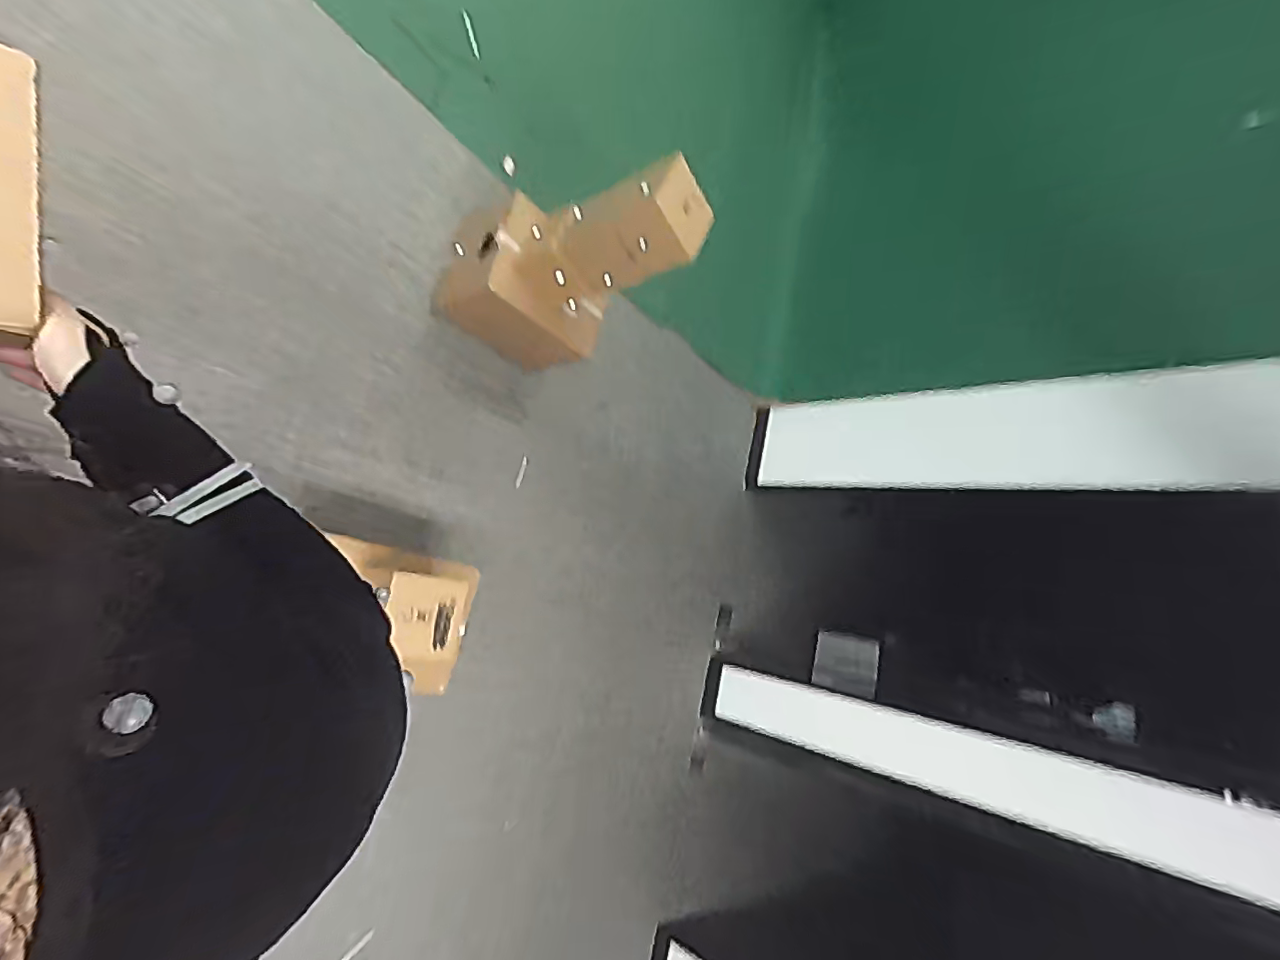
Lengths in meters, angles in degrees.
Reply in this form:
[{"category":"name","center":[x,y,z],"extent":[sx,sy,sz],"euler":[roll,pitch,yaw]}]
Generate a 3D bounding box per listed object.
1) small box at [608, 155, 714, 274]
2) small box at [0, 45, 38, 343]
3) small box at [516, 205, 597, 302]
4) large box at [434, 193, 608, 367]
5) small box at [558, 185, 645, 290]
[{"category":"small box","center":[0.047,-0.627,1.299],"extent":[0.168,0.176,0.179],"euler":[46,57,-39]},{"category":"small box","center":[-0.503,-0.188,0.339],"extent":[0.168,0.176,0.179],"euler":[-2,97,-49]},{"category":"small box","center":[-0.207,-0.618,1.505],"extent":[0.179,0.176,0.168],"euler":[41,60,-41]},{"category":"large box","center":[-0.361,-0.598,1.698],"extent":[0.408,0.320,0.320],"euler":[28,70,-47]},{"category":"small box","center":[-0.077,-0.618,1.407],"extent":[0.179,0.176,0.168],"euler":[45,57,-39]}]
